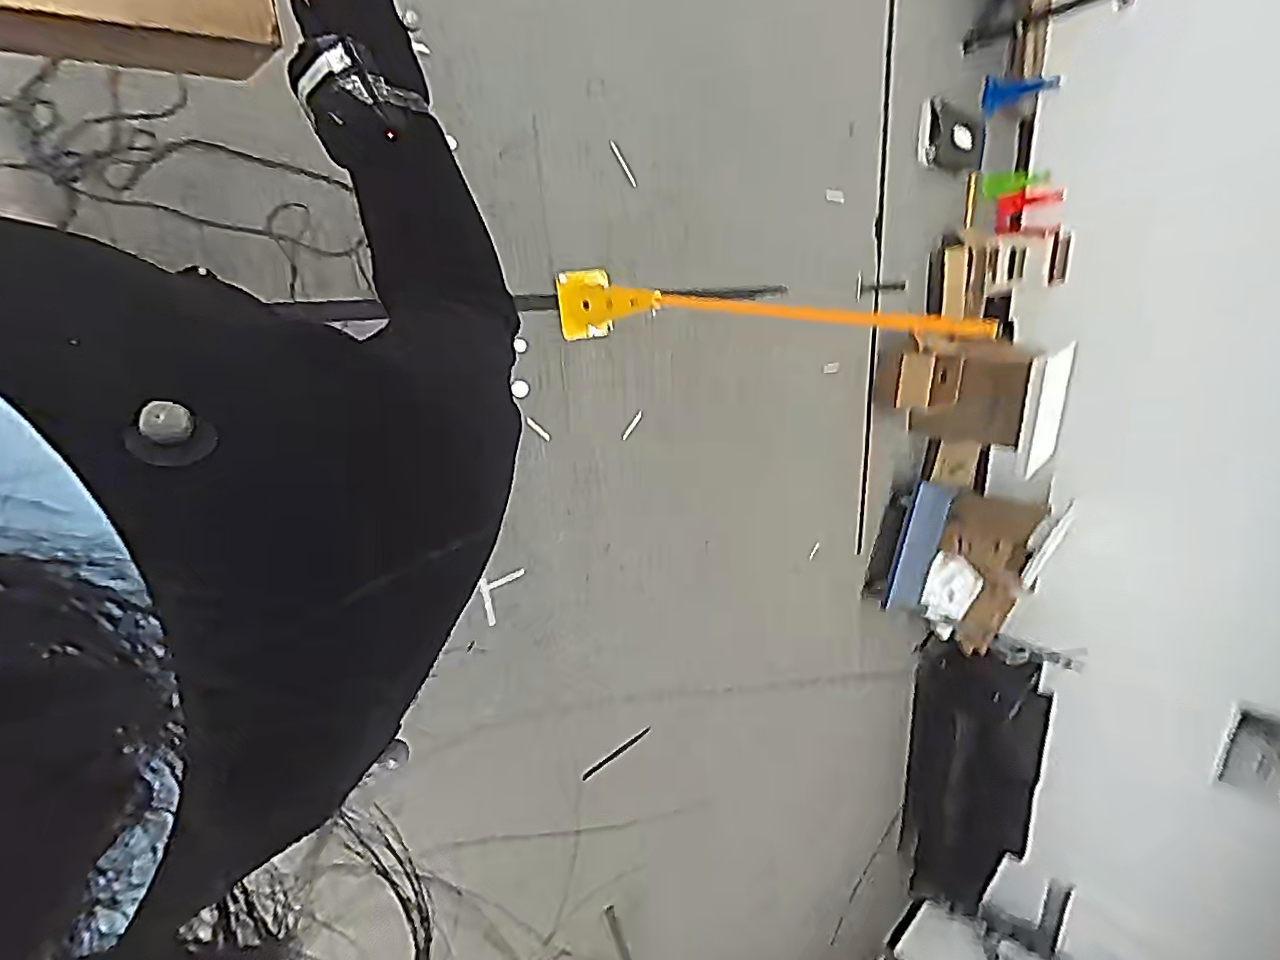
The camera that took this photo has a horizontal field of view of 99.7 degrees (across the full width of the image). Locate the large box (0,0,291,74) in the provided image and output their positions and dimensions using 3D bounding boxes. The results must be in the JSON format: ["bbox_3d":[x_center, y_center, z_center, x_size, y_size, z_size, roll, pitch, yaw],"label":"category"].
[{"bbox_3d":[-0.500,-0.472,0.333,0.408,0.320,0.320,-16,125,-32],"label":"large box"}]
